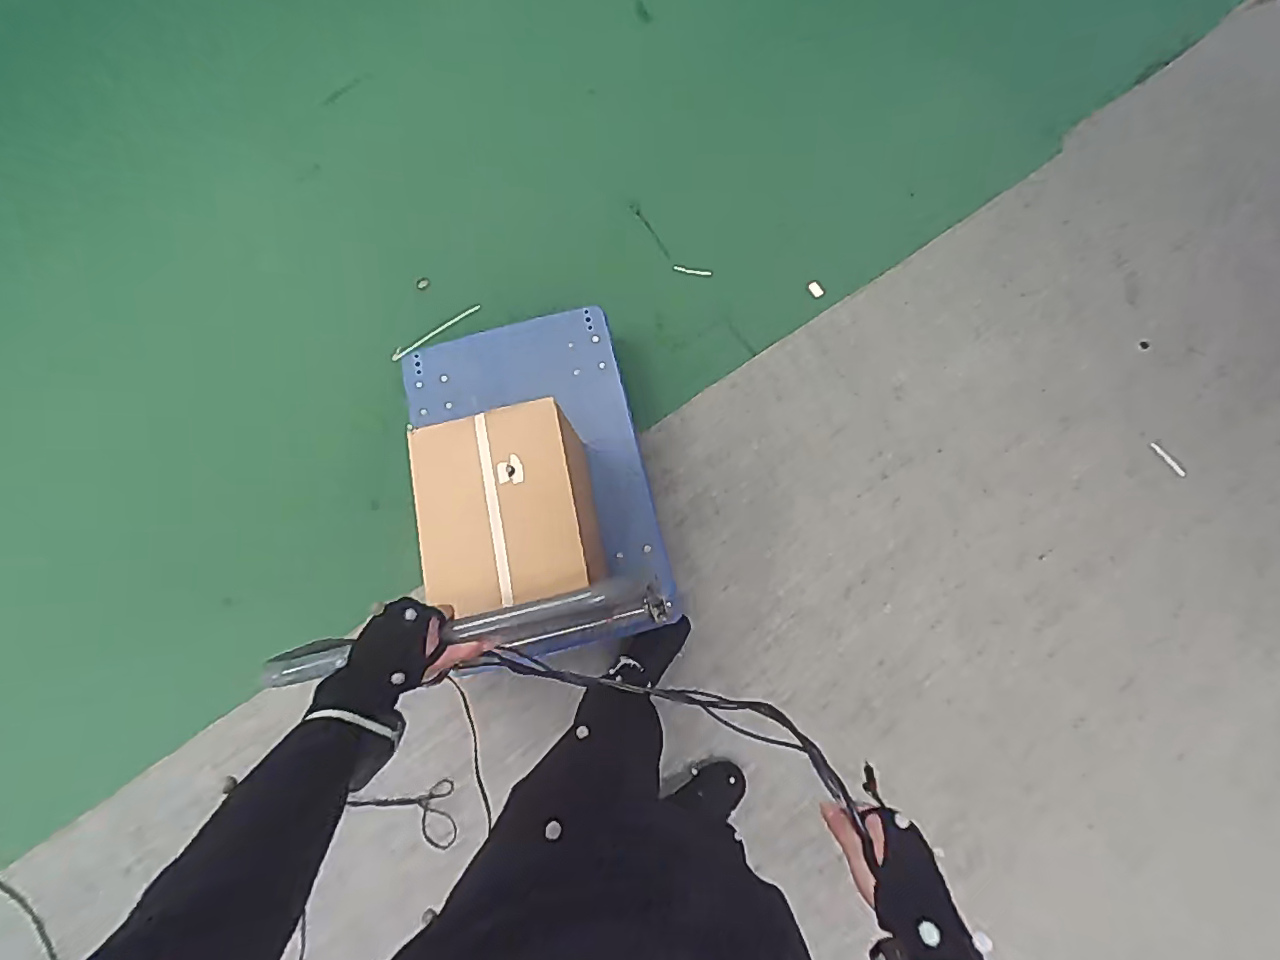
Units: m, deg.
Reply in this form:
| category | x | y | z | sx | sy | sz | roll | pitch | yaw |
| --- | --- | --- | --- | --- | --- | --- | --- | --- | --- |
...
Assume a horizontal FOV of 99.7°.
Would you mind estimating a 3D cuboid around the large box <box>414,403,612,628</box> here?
| category | x | y | z | sx | sy | sz | roll | pitch | yaw |
| --- | --- | --- | --- | --- | --- | --- | --- | --- | --- |
| large box | -0.267 | 0.097 | 1.211 | 0.320 | 0.320 | 0.408 | -13 | 75 | 1 |
